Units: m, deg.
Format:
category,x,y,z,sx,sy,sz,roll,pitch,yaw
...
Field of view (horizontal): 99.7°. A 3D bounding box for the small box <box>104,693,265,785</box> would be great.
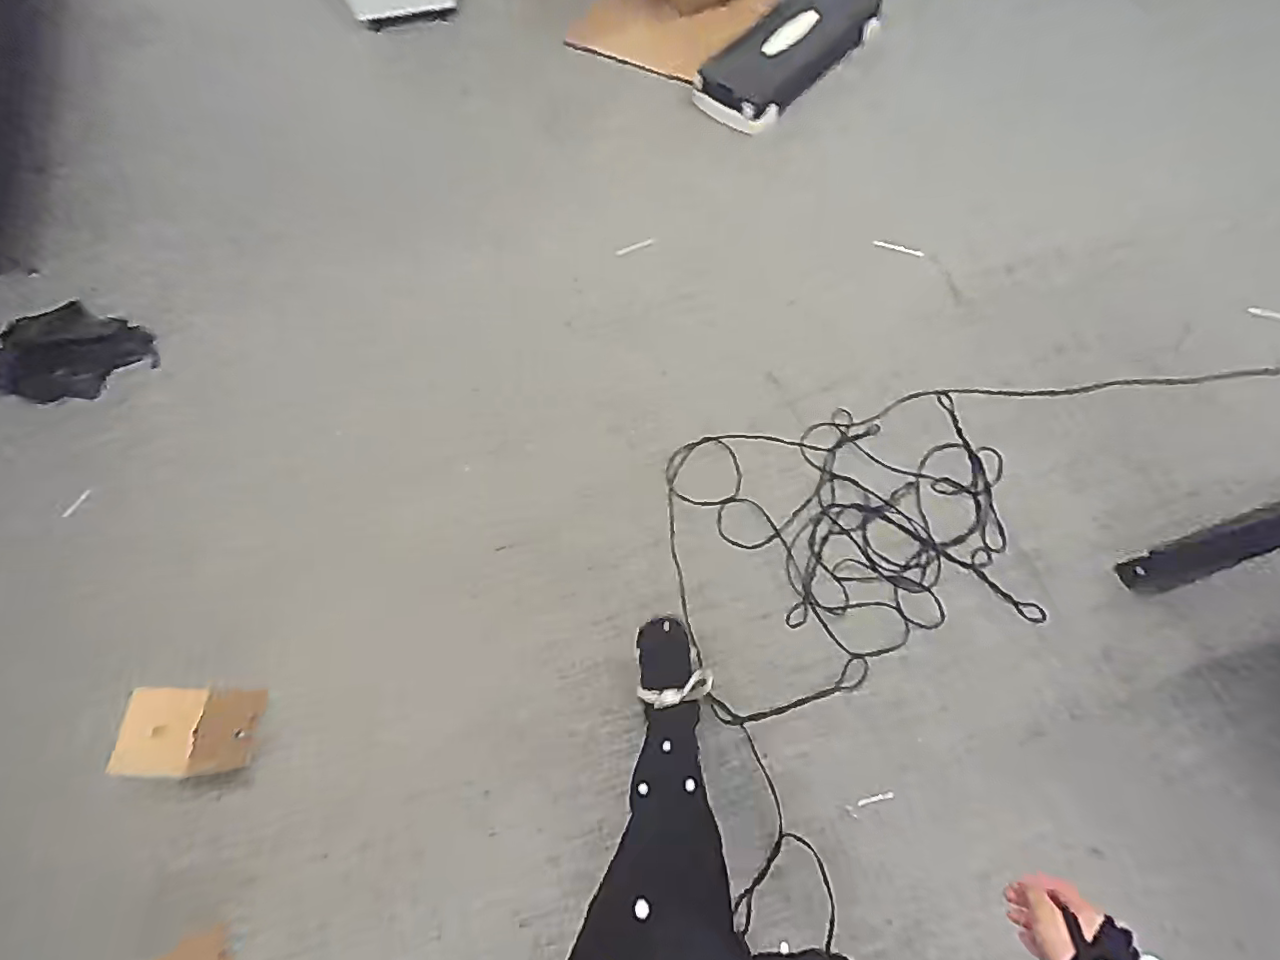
category,x,y,z,sx,sy,sz,roll,pitch,yaw
small box,-0.968,0.553,1.166,0.179,0.176,0.168,-1,68,6
